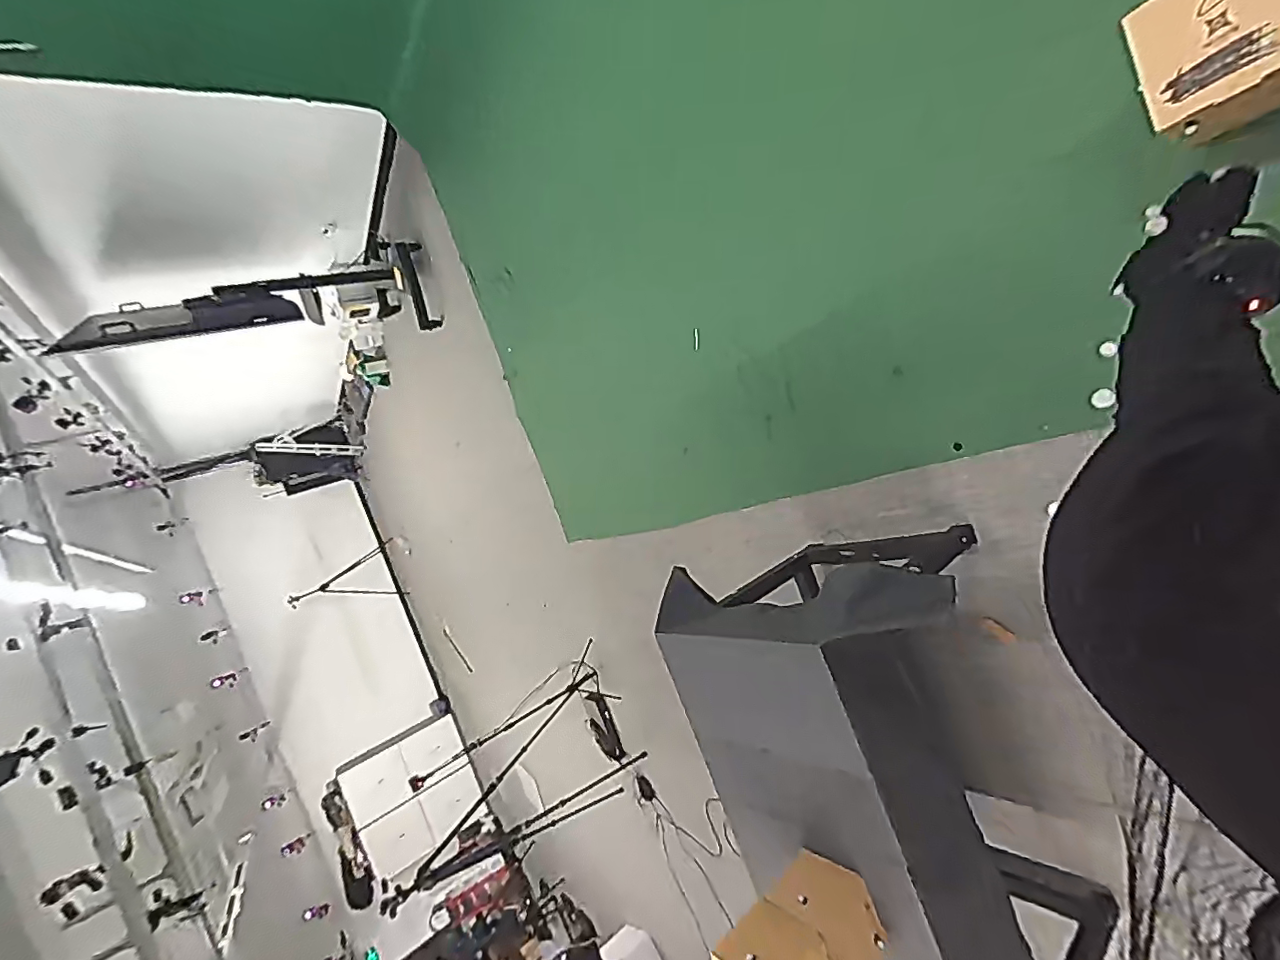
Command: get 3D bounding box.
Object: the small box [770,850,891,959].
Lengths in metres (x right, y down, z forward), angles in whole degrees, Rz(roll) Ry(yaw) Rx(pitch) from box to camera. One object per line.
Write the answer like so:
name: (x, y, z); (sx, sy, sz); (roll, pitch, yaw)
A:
small box: (0.432, 0.980, 1.210); (0.179, 0.176, 0.168); (-23, 89, 57)

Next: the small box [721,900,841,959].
small box: (0.306, 1.028, 1.120); (0.179, 0.176, 0.168); (-22, 89, 56)
